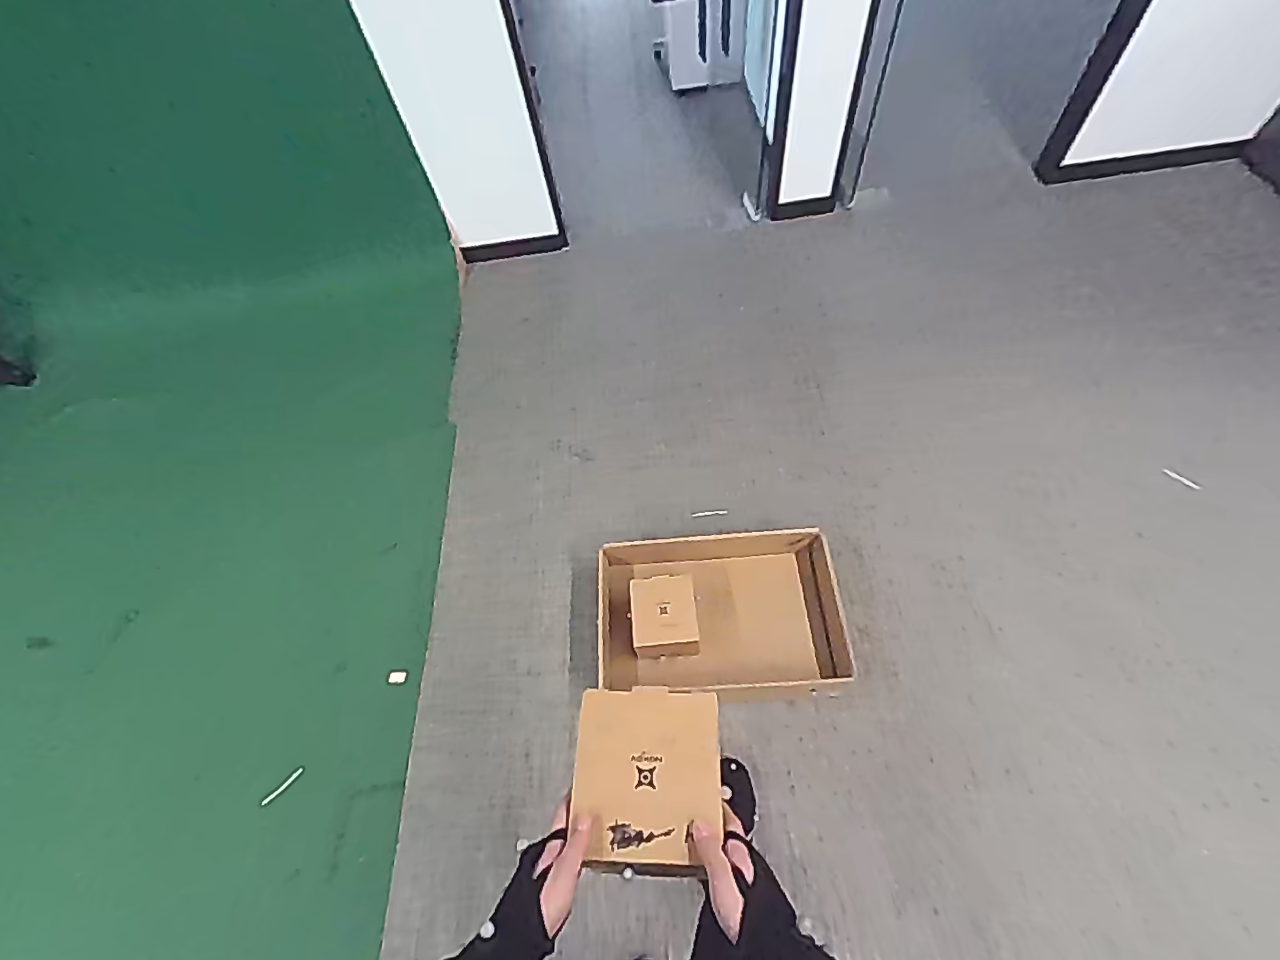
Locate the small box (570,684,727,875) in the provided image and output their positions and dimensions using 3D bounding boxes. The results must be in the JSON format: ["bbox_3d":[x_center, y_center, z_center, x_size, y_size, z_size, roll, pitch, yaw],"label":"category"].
[{"bbox_3d":[0.017,0.371,0.669,0.168,0.176,0.179,0,51,5],"label":"small box"}]
